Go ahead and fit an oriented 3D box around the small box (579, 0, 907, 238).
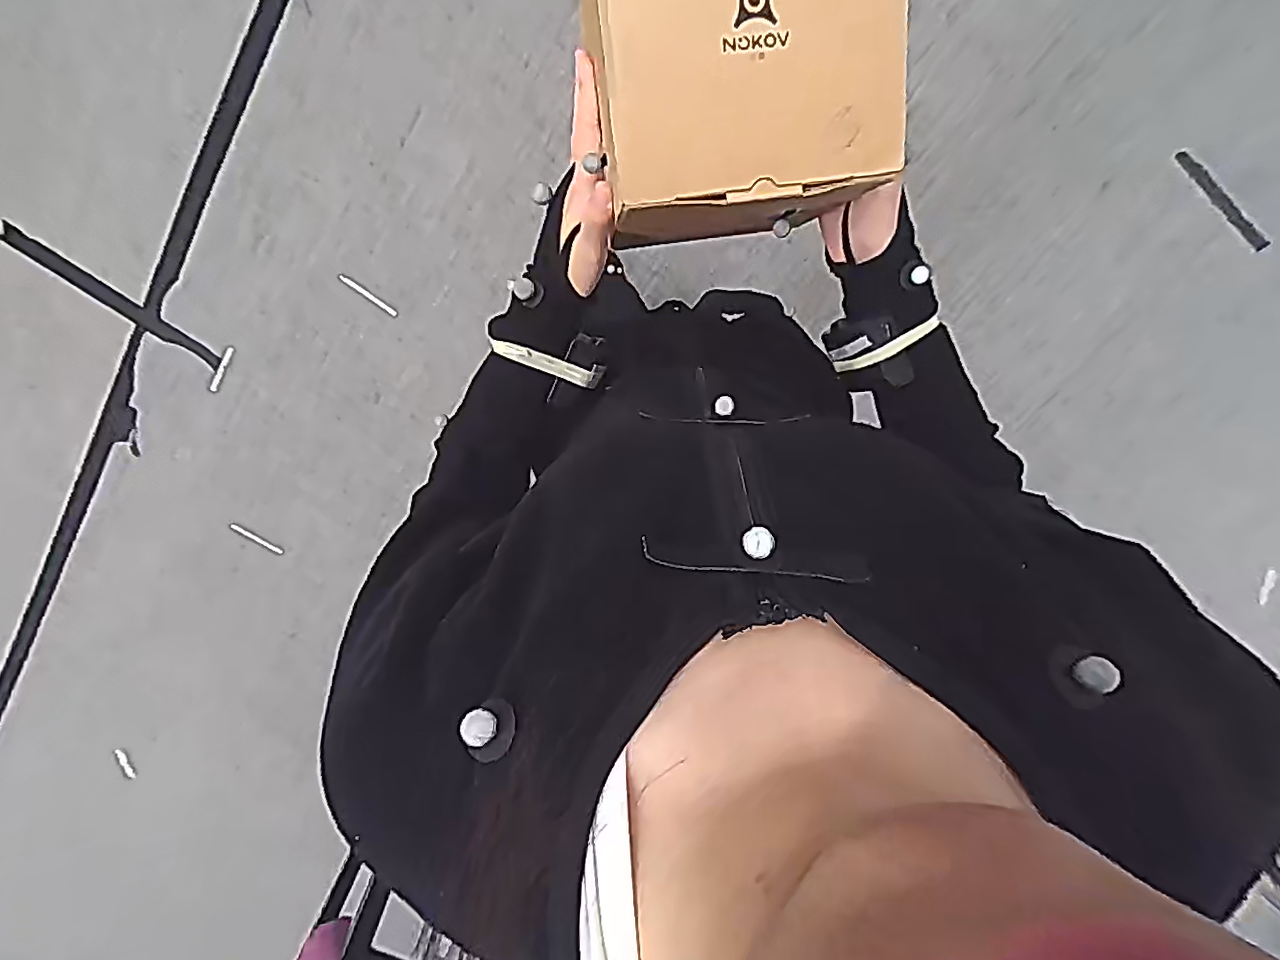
[{"bbox_3d":[0.051,-0.267,0.355,0.168,0.176,0.179,-9,106,-4],"label":"small box"}]
